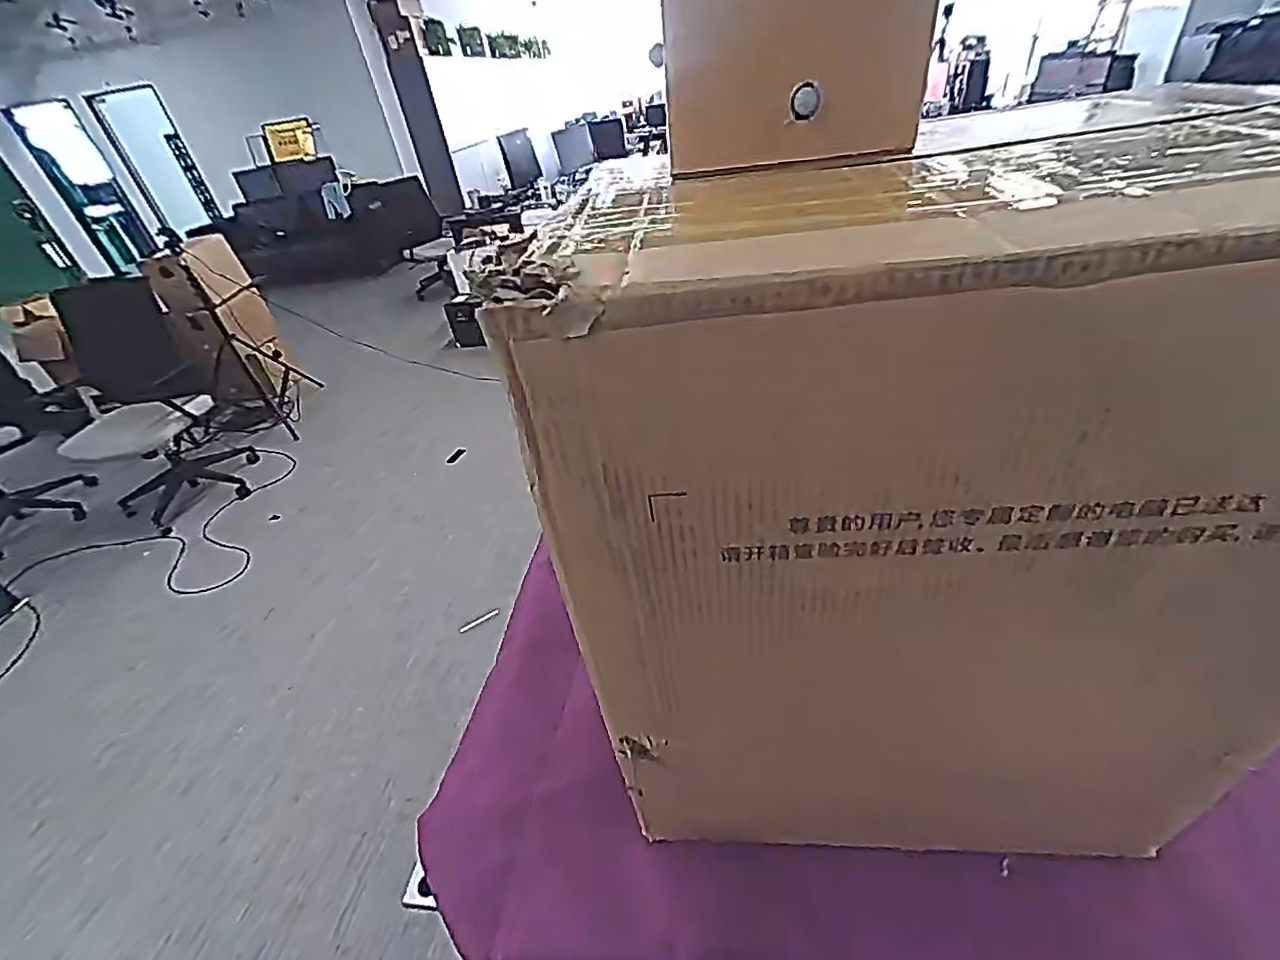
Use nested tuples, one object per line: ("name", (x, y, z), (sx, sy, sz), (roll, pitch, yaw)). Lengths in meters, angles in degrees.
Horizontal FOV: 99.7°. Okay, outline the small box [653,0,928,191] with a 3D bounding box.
("small box", (0.102, -0.336, 0.414), (0.179, 0.176, 0.168), (-2, 37, 9))
